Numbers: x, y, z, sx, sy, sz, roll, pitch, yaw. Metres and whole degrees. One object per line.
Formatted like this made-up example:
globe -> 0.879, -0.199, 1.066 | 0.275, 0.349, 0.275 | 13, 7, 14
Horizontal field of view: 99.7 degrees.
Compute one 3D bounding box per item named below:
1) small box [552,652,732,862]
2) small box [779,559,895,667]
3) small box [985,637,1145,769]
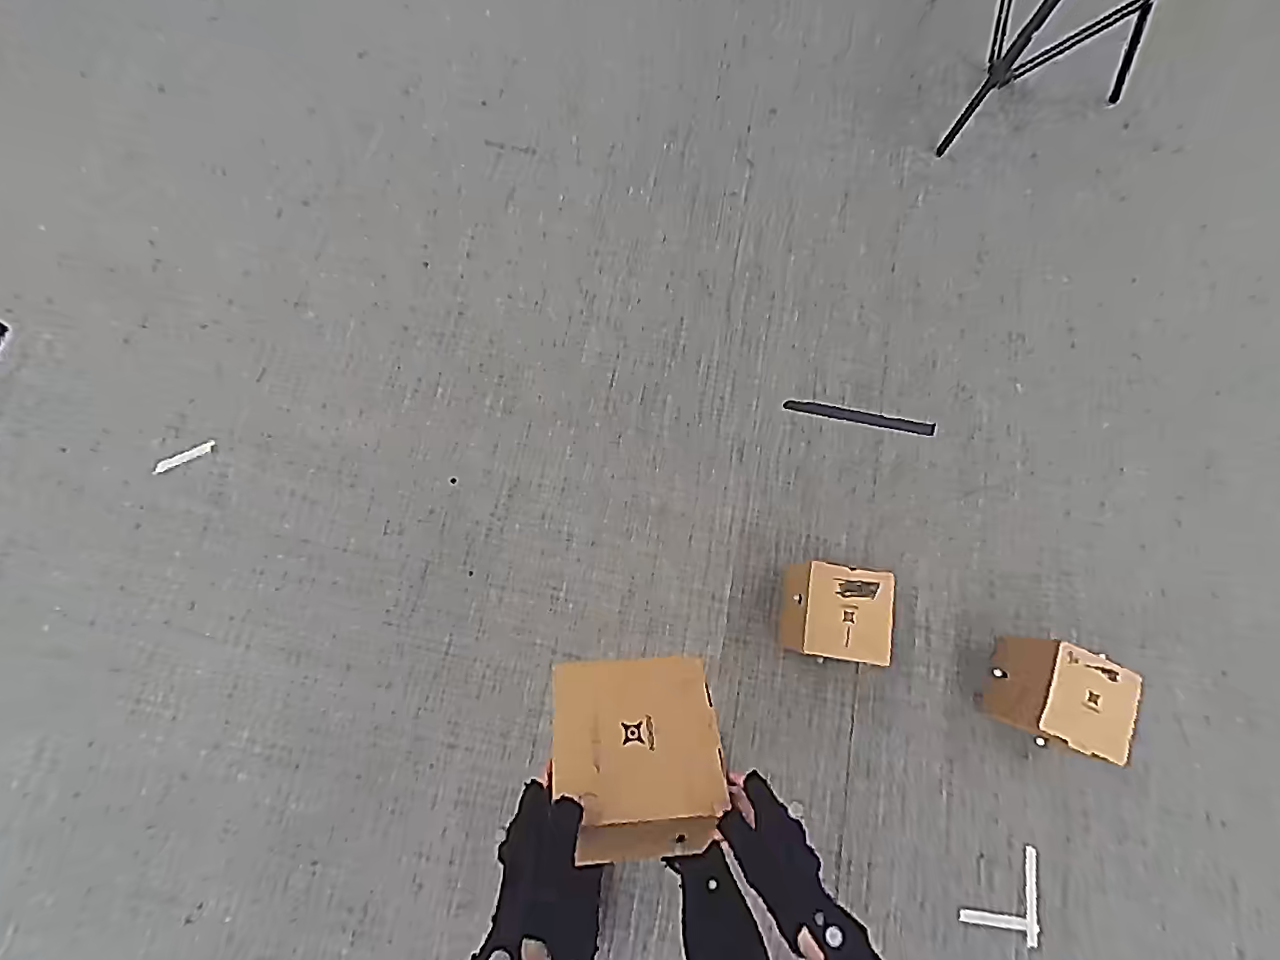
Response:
small box -> -0.011, 0.318, 0.623 | 0.179, 0.176, 0.168 | -1, 43, -8
small box -> 0.389, 0.265, 1.089 | 0.168, 0.176, 0.179 | 10, 77, 0
small box -> 0.828, 0.429, 1.072 | 0.168, 0.176, 0.179 | 25, 77, 3
